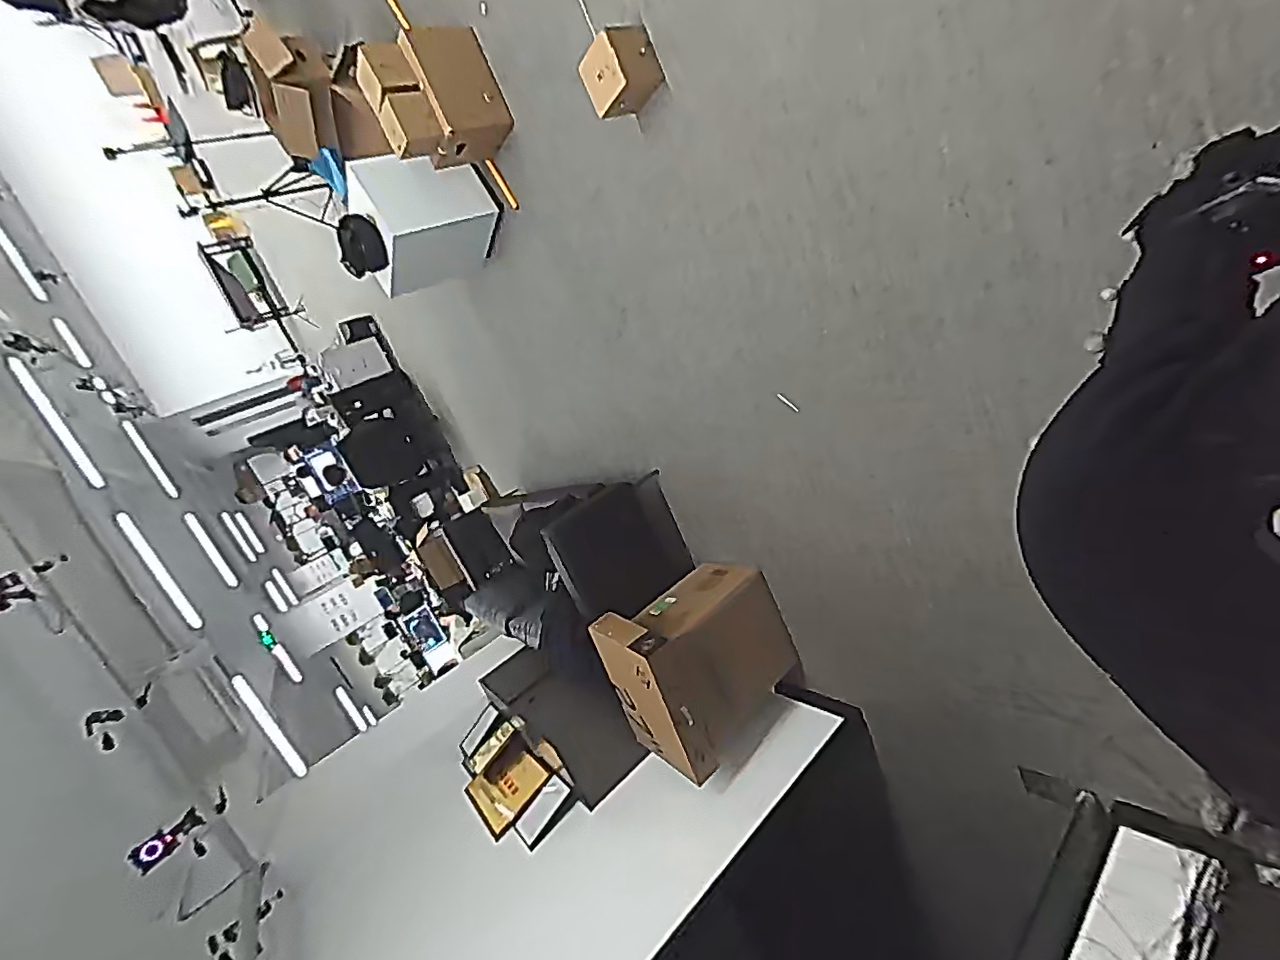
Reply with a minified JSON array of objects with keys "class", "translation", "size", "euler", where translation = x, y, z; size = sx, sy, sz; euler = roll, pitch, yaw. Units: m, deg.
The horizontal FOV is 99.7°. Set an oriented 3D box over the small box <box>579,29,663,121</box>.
[{"class":"small box","translation":[-0.059,-1.285,1.720],"size":[0.179,0.176,0.168],"euler":[-8,112,58]}]
